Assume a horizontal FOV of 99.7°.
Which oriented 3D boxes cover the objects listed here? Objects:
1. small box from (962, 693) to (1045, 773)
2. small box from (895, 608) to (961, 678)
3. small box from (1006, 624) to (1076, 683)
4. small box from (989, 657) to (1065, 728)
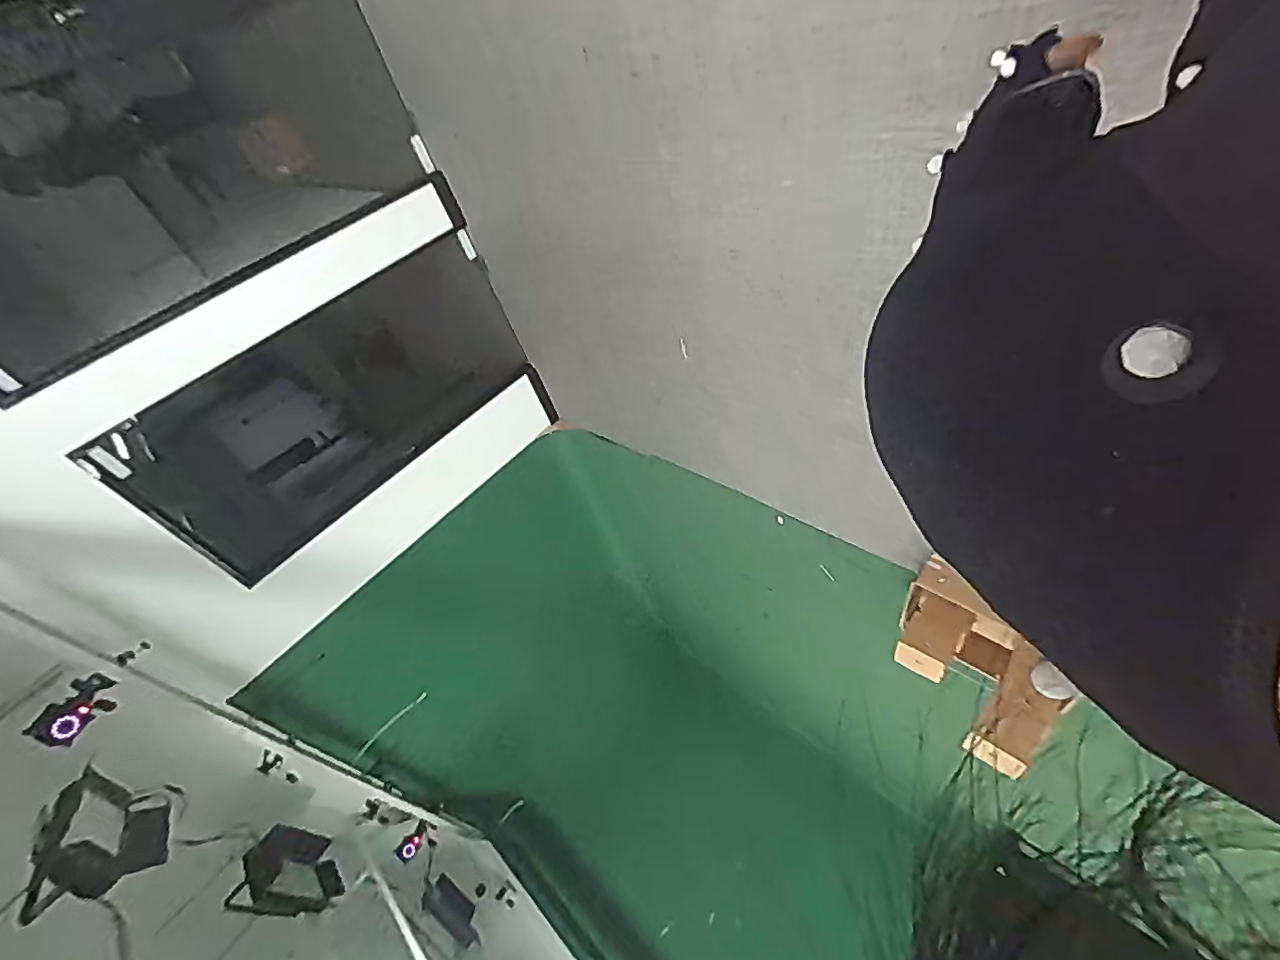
[{"bbox_3d":[1.266,0.874,1.887,0.179,0.176,0.168,28,151,36],"label":"small box"},{"bbox_3d":[1.138,0.636,2.133,0.179,0.176,0.168,26,148,36],"label":"small box"},{"bbox_3d":[1.491,0.675,2.022,0.168,0.176,0.179,28,150,36],"label":"small box"},{"bbox_3d":[1.384,0.774,1.947,0.179,0.176,0.168,30,151,36],"label":"small box"}]
